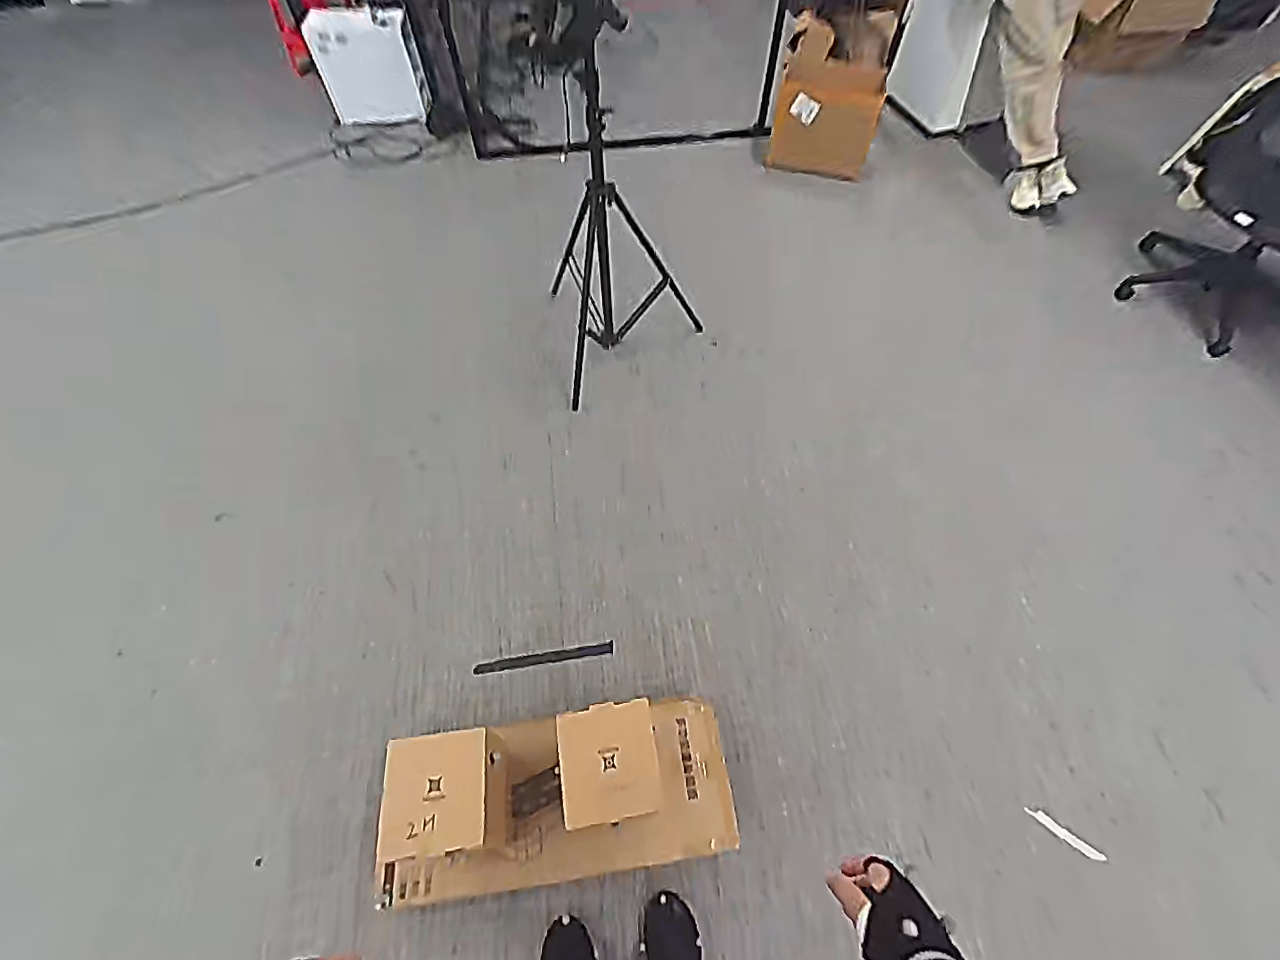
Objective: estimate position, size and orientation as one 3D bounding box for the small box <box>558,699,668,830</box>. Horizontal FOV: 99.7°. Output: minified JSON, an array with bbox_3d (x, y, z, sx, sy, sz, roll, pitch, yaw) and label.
[{"bbox_3d":[-0.049,0.515,0.975,0.168,0.176,0.179,-10,59,-4],"label":"small box"}]

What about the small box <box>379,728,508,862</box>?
[{"bbox_3d":[-0.332,0.553,0.949,0.168,0.176,0.179,-6,58,-4],"label":"small box"}]

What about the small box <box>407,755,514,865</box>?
[{"bbox_3d":[-0.351,0.650,1.083,0.168,0.176,0.179,-8,59,-5],"label":"small box"}]
